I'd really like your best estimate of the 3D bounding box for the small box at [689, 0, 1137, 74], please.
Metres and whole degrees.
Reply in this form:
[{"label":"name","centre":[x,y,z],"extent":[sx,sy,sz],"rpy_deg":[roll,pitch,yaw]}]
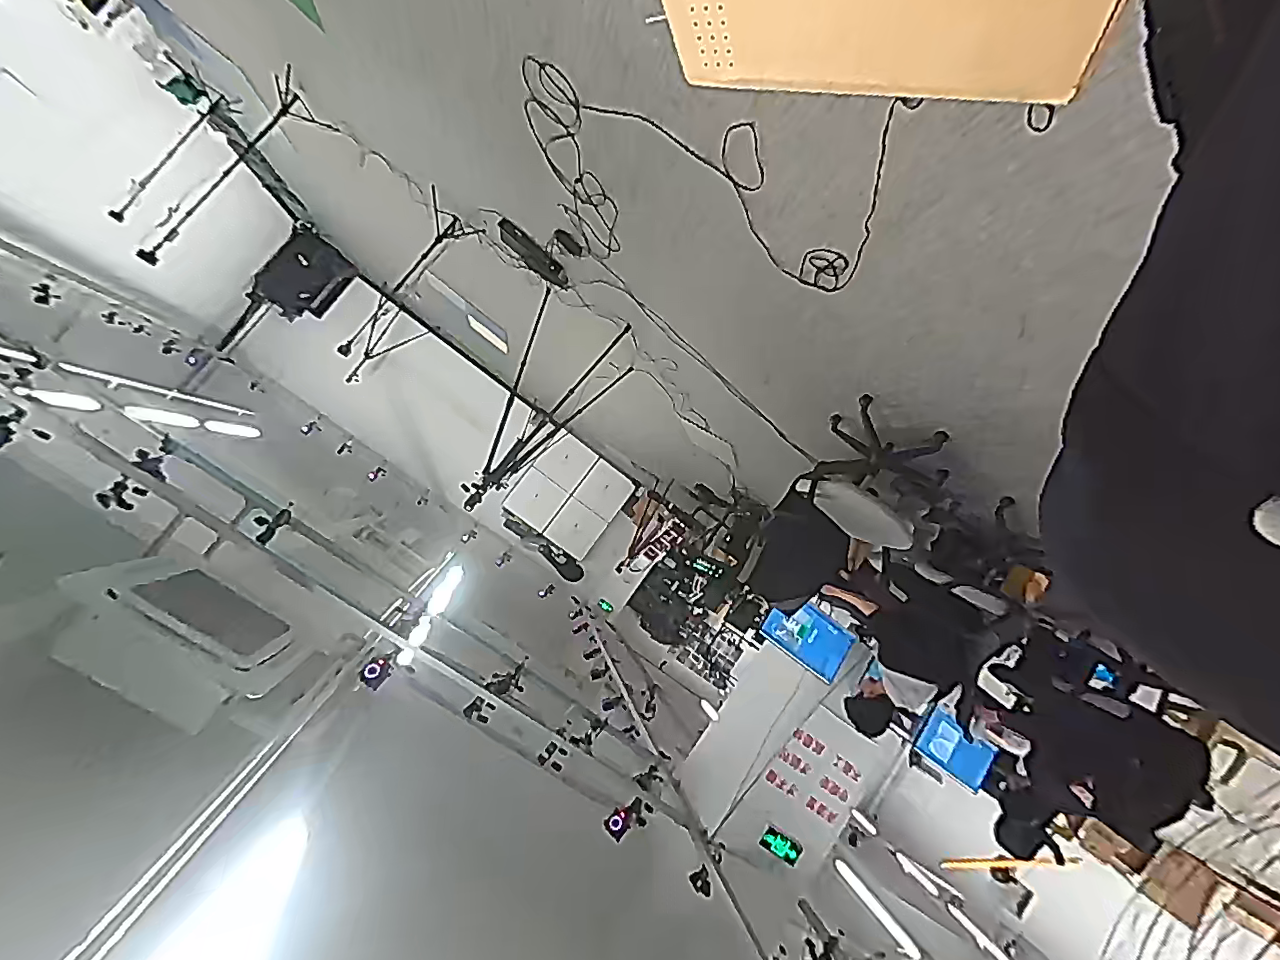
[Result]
[{"label":"small box","centre":[0.103,-0.271,0.169],"extent":[0.176,0.168,0.179],"rpy_deg":[21,177,23]}]
